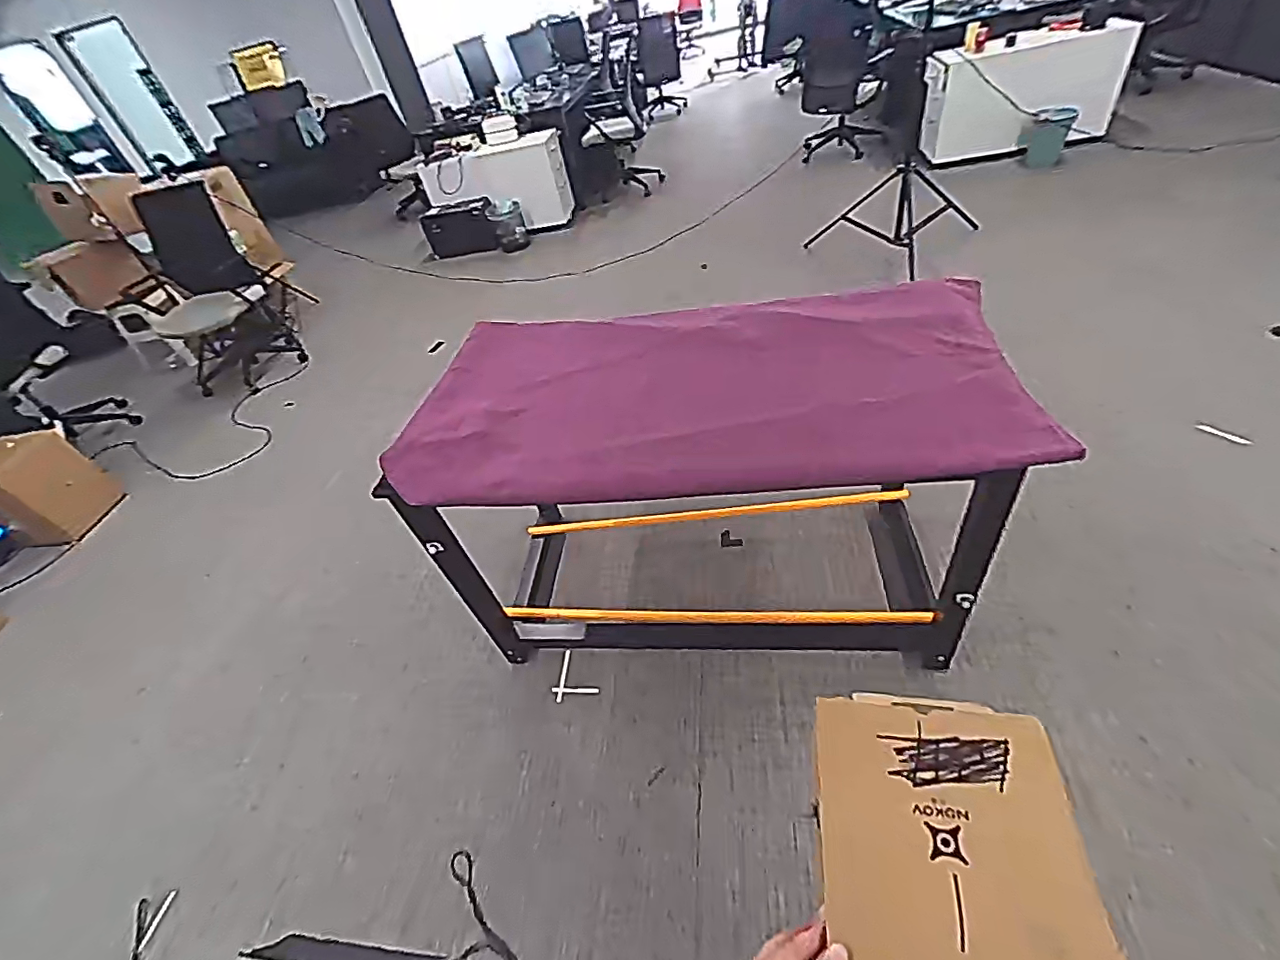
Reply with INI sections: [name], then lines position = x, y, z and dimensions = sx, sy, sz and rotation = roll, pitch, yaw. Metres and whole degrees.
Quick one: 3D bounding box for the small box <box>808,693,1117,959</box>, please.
[small box]
position = 0.224, 0.299, 0.431
dimensions = 0.168, 0.176, 0.179
rotation = -1, 42, 15
